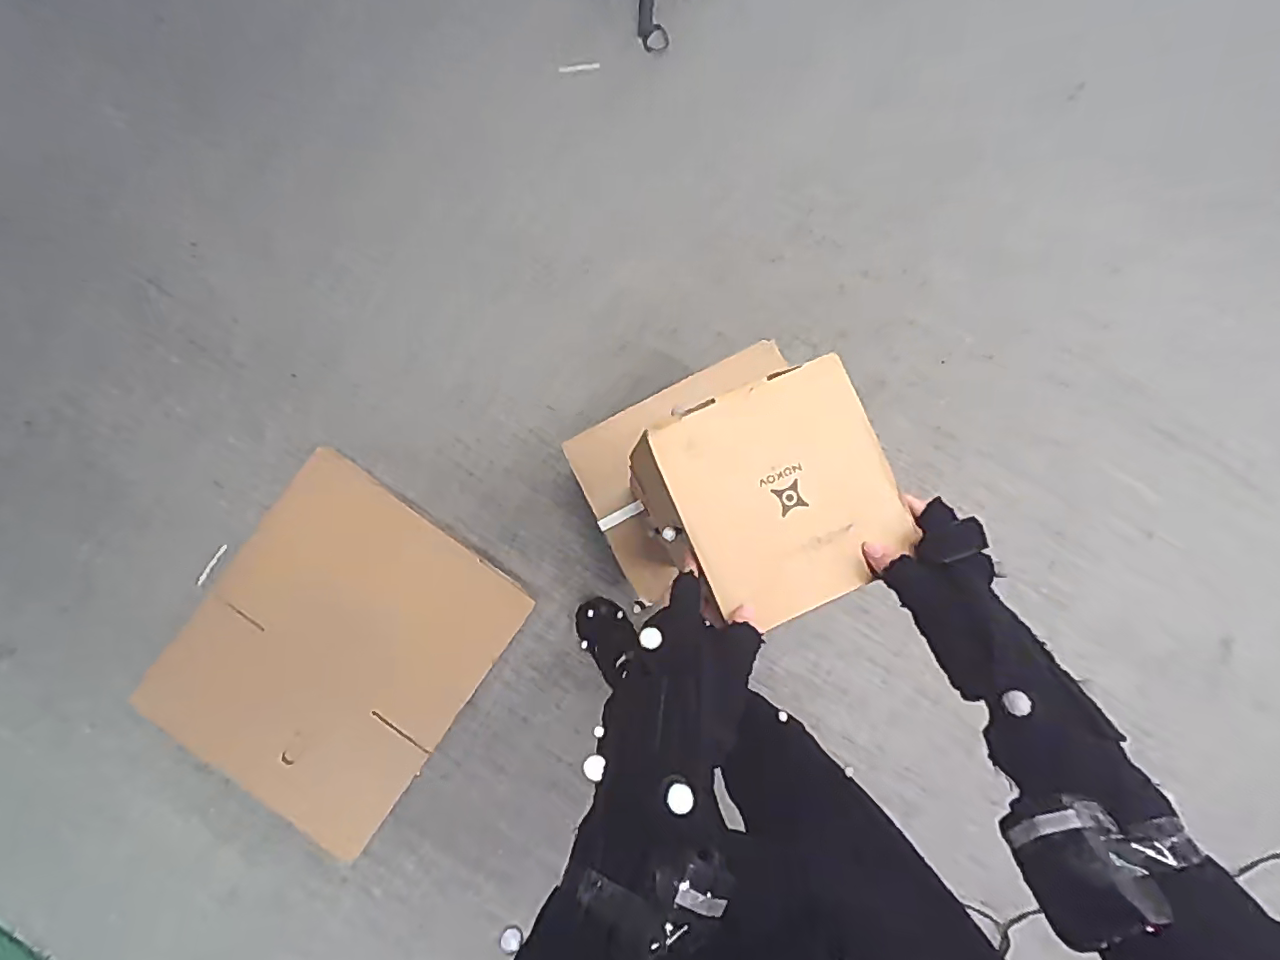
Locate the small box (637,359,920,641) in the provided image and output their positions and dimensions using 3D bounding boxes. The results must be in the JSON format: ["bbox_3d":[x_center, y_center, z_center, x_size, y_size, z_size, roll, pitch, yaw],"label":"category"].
[{"bbox_3d":[0.105,0.019,0.495,0.168,0.176,0.179,-24,88,-5],"label":"small box"}]
